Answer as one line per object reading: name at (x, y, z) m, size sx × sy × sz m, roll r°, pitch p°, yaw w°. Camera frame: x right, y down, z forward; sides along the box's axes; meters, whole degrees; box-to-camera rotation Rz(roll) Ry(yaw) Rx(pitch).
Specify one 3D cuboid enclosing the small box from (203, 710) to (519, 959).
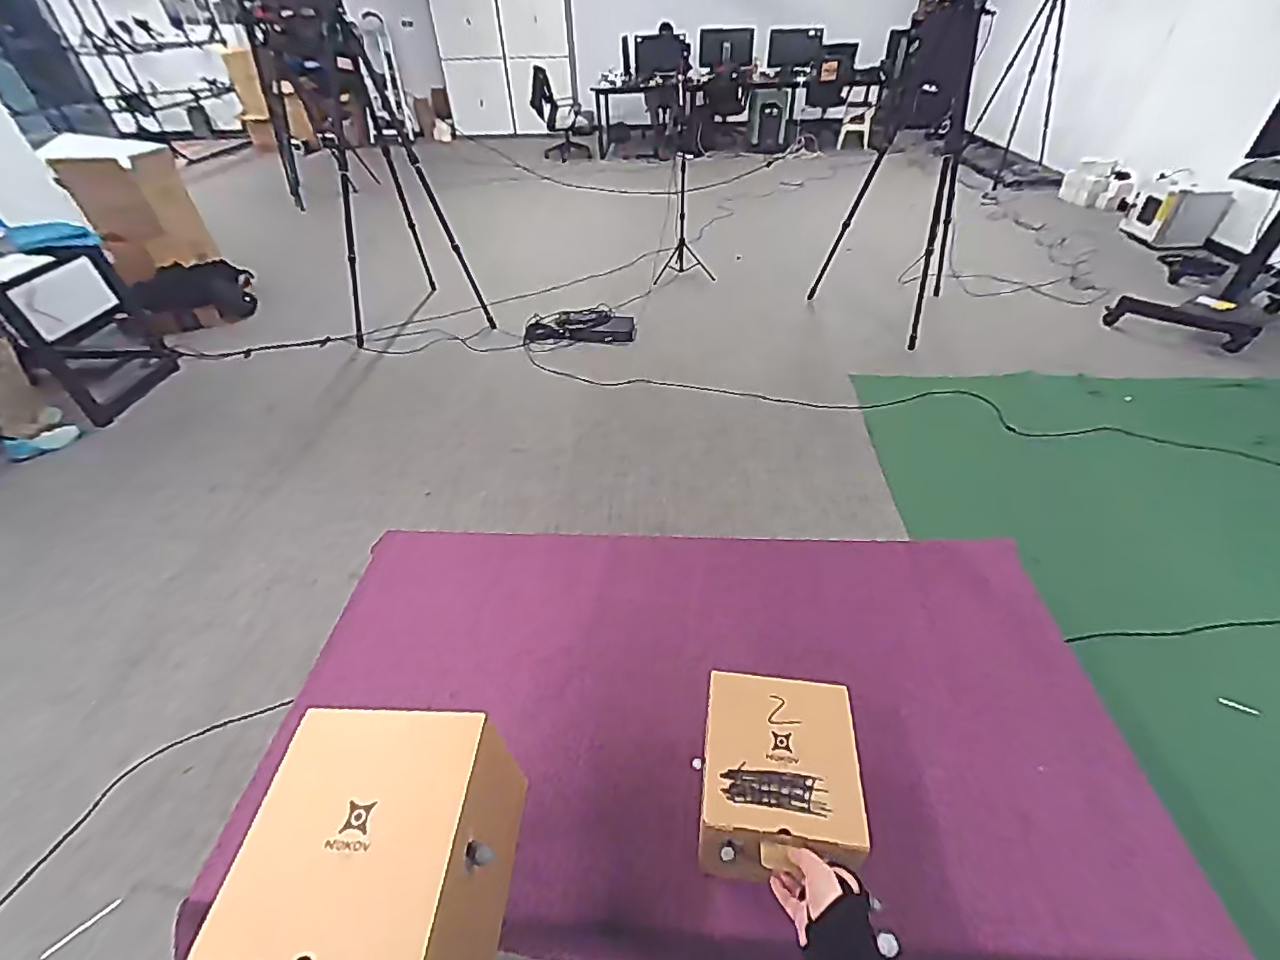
small box at (-0.217, 0.329, 0.485) m, size 0.168 × 0.176 × 0.179 m, roll -1°, pitch 46°, yaw 5°
